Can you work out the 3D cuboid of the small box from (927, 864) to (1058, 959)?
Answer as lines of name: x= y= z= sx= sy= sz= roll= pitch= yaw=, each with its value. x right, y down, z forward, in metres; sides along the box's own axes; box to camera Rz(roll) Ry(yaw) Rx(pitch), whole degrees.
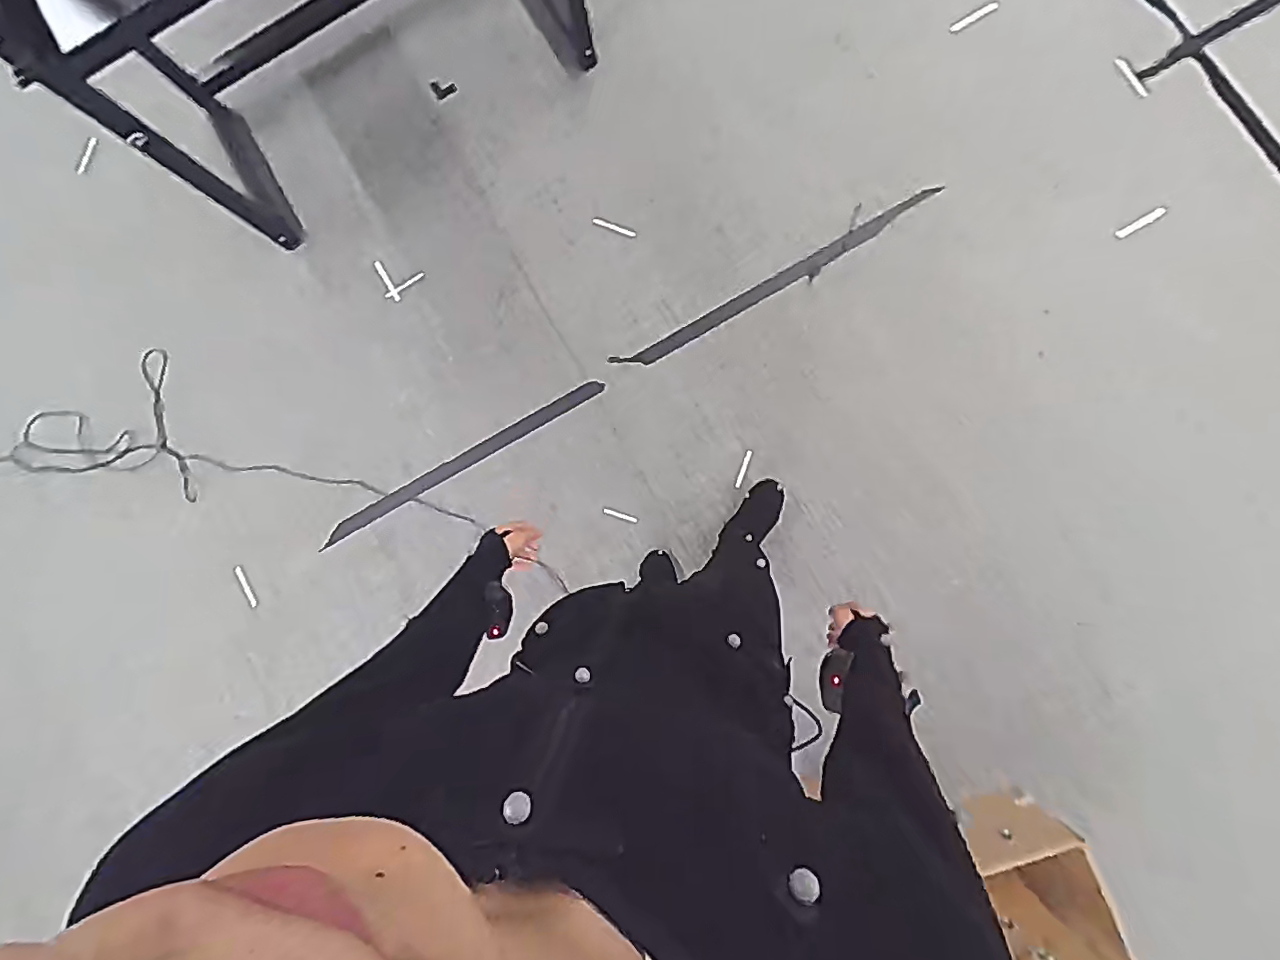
small box: x=0.701 y=0.894 z=1.044 sx=0.179 sy=0.176 sz=0.168 roll=-24 pitch=86 yaw=3

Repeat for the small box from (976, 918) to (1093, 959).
small box: x=0.700 y=0.883 z=0.881 sx=0.168 sy=0.176 sz=0.179 roll=-26 pitch=86 yaw=1
